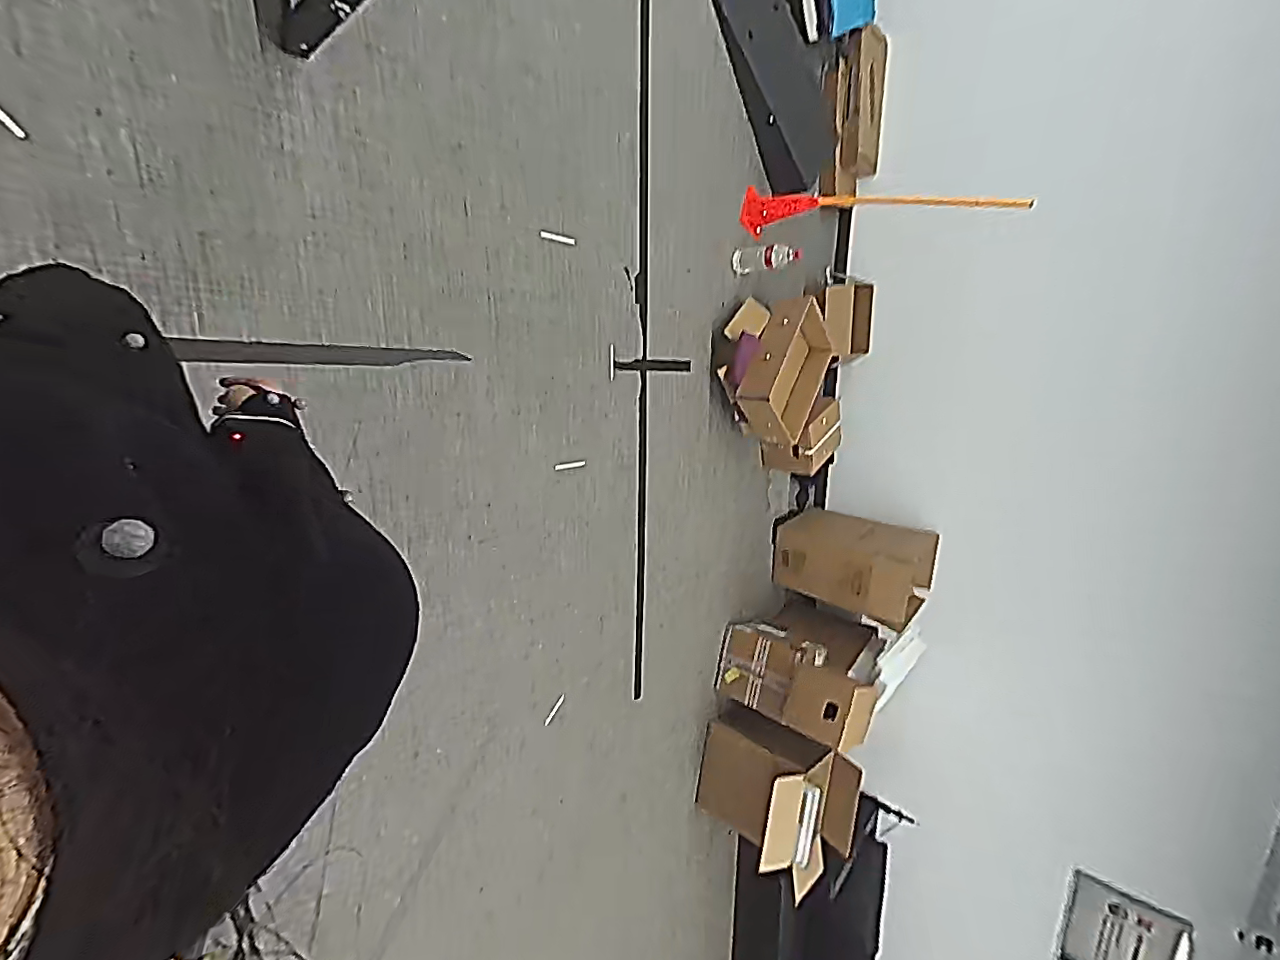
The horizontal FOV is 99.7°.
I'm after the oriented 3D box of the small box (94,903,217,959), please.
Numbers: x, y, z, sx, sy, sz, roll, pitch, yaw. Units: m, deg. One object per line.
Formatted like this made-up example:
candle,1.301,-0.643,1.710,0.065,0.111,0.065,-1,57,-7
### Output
small box,-1.083,1.109,1.217,0.168,0.176,0.179,-30,120,-43
